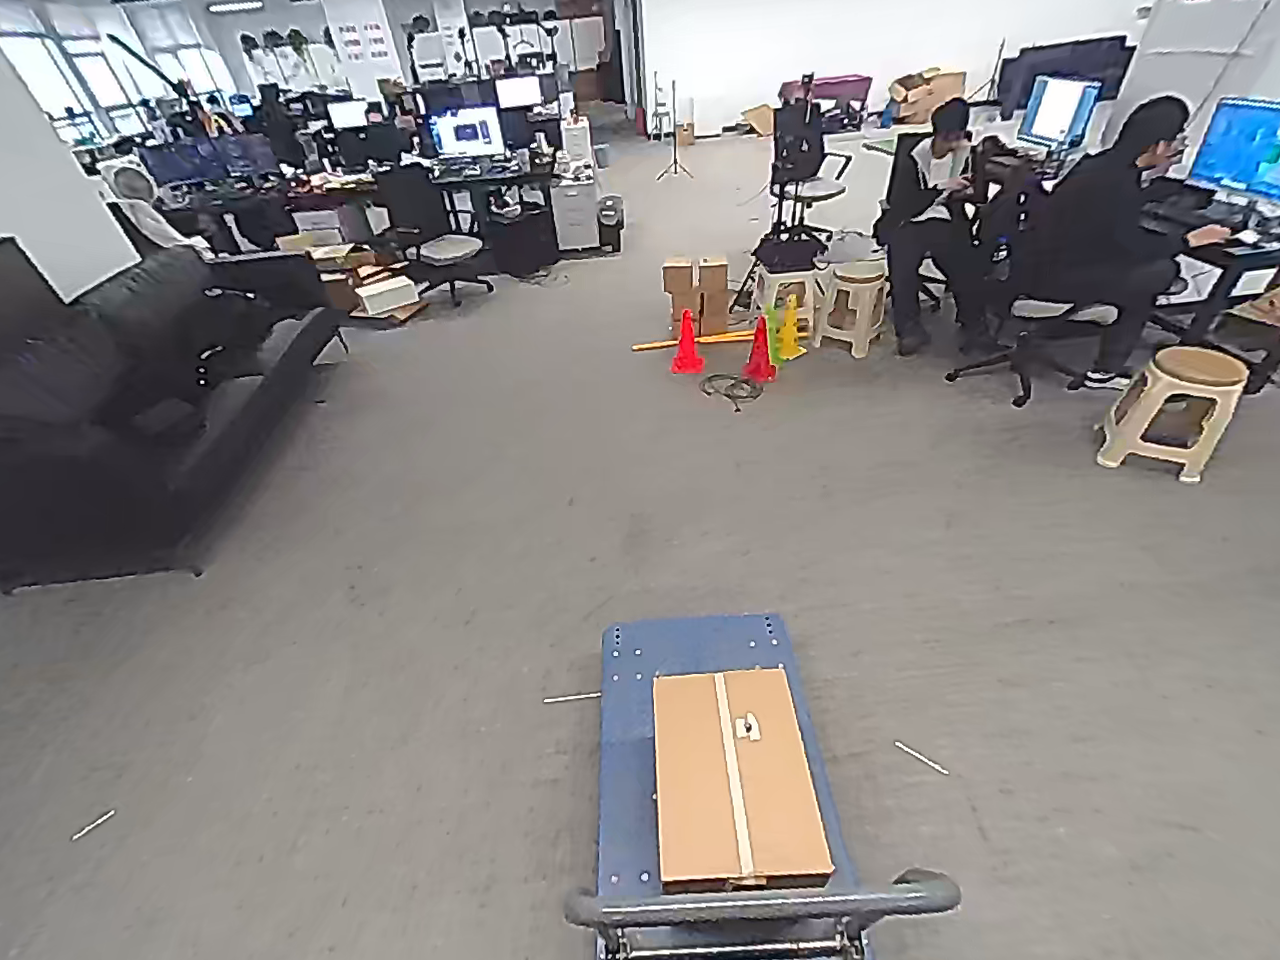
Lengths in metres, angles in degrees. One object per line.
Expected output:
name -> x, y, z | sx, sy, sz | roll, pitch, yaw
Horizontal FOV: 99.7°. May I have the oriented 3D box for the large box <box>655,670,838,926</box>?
large box -> 0.208, 0.695, 1.203 | 0.320, 0.320, 0.408 | -4, 39, 2
